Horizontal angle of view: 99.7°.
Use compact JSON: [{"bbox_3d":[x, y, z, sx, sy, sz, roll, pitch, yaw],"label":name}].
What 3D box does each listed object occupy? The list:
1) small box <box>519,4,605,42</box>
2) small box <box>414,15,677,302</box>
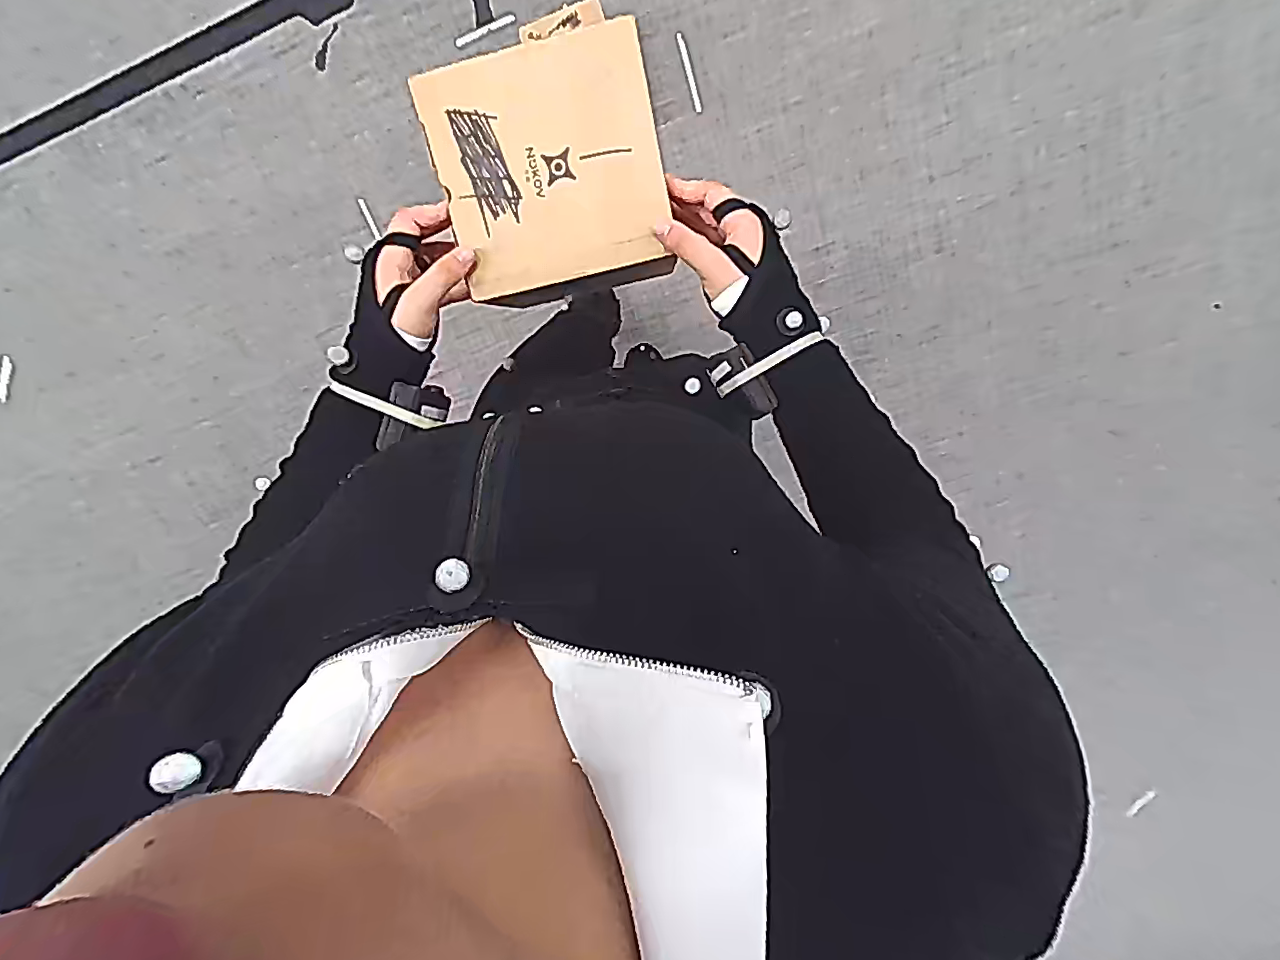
[{"bbox_3d":[-0.127,-0.819,1.116,0.168,0.176,0.179,-17,111,6],"label":"small box"},{"bbox_3d":[-0.067,-0.263,0.491,0.179,0.176,0.168,-11,106,4],"label":"small box"}]
